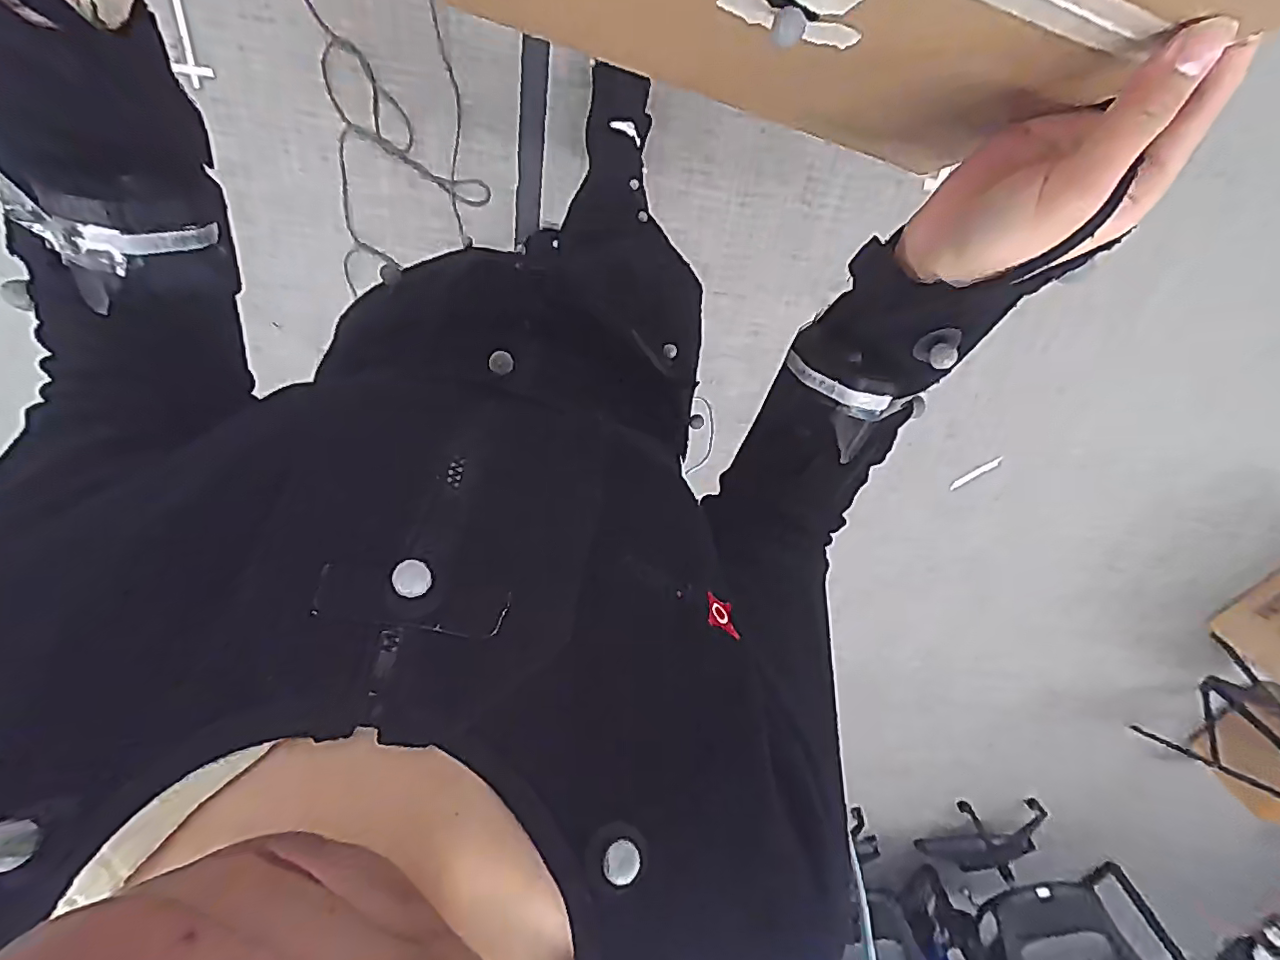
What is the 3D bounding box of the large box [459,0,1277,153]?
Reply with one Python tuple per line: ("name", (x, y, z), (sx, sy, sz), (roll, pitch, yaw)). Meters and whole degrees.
("large box", (0.036, -0.337, 0.116), (0.408, 0.320, 0.320), (10, 105, -11))
